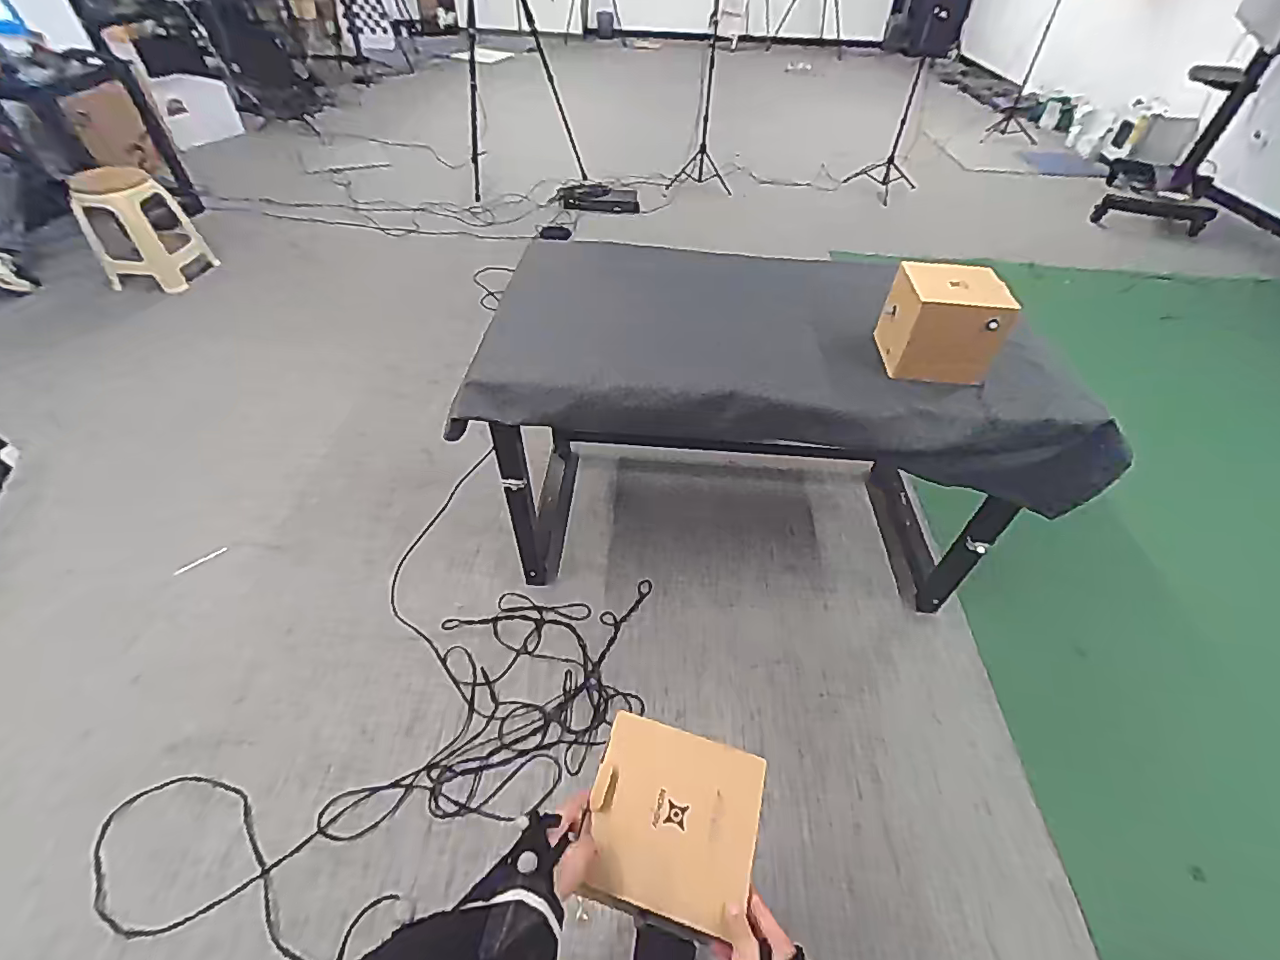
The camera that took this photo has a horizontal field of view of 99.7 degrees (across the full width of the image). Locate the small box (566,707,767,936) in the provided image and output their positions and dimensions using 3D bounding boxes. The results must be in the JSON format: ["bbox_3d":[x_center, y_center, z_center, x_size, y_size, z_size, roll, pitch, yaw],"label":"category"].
[{"bbox_3d":[0.030,0.391,0.615,0.179,0.176,0.168,15,50,8],"label":"small box"}]

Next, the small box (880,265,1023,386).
[{"bbox_3d":[0.588,-0.300,1.053,0.179,0.176,0.168,5,46,3],"label":"small box"}]
